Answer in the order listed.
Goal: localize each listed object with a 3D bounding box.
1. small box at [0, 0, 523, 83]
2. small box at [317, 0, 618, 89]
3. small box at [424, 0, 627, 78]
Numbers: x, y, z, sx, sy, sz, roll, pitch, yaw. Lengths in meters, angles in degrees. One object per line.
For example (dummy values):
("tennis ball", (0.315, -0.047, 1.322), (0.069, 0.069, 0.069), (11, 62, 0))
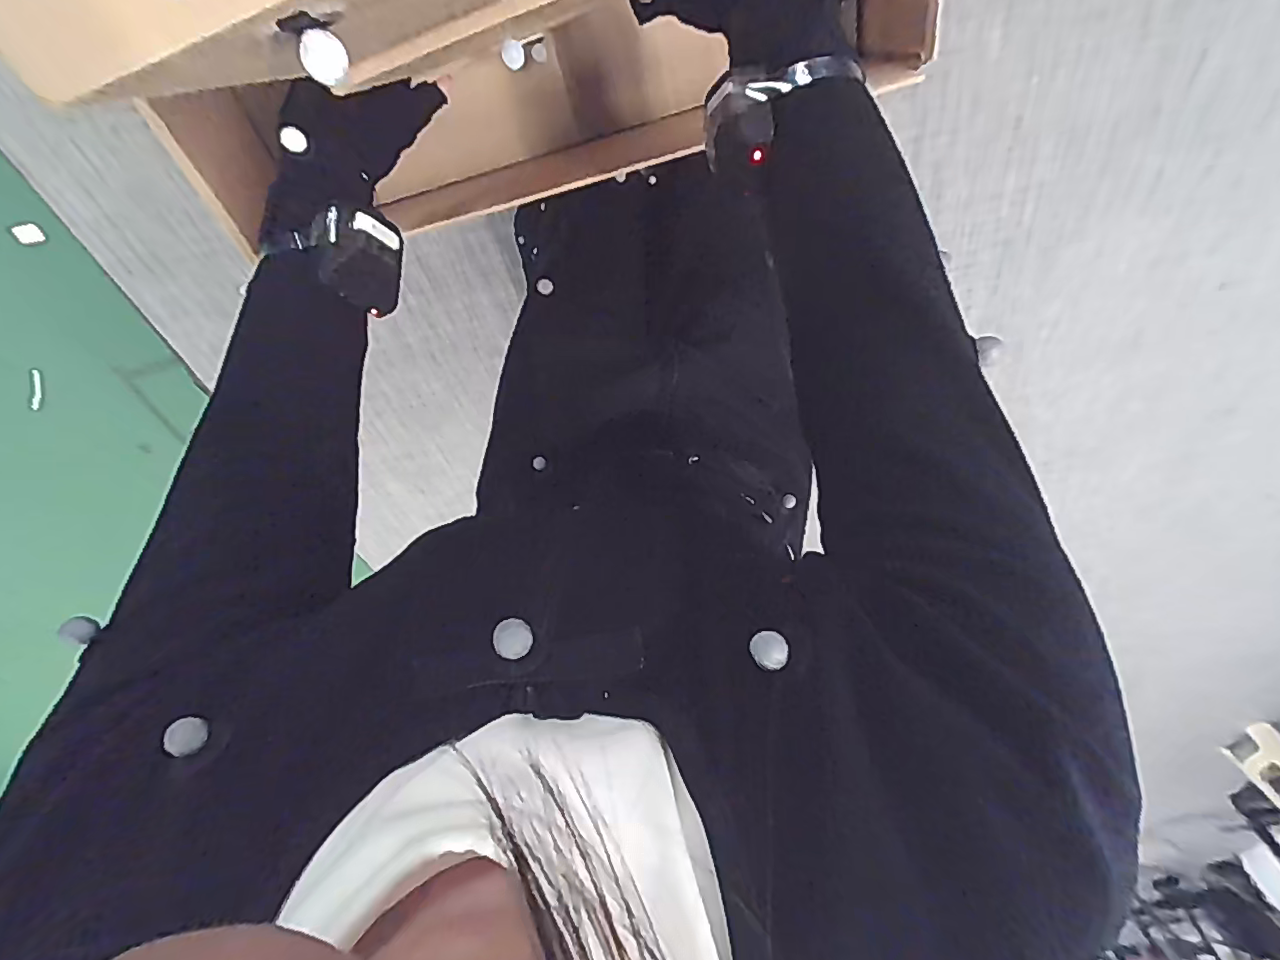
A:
("small box", (-0.101, -0.231, 0.137), (0.168, 0.176, 0.179), (-14, 127, 10))
("small box", (-0.104, -0.328, 0.269), (0.168, 0.176, 0.179), (-14, 129, 10))
("small box", (-0.111, -0.428, 0.397), (0.168, 0.176, 0.179), (-16, 128, 10))
